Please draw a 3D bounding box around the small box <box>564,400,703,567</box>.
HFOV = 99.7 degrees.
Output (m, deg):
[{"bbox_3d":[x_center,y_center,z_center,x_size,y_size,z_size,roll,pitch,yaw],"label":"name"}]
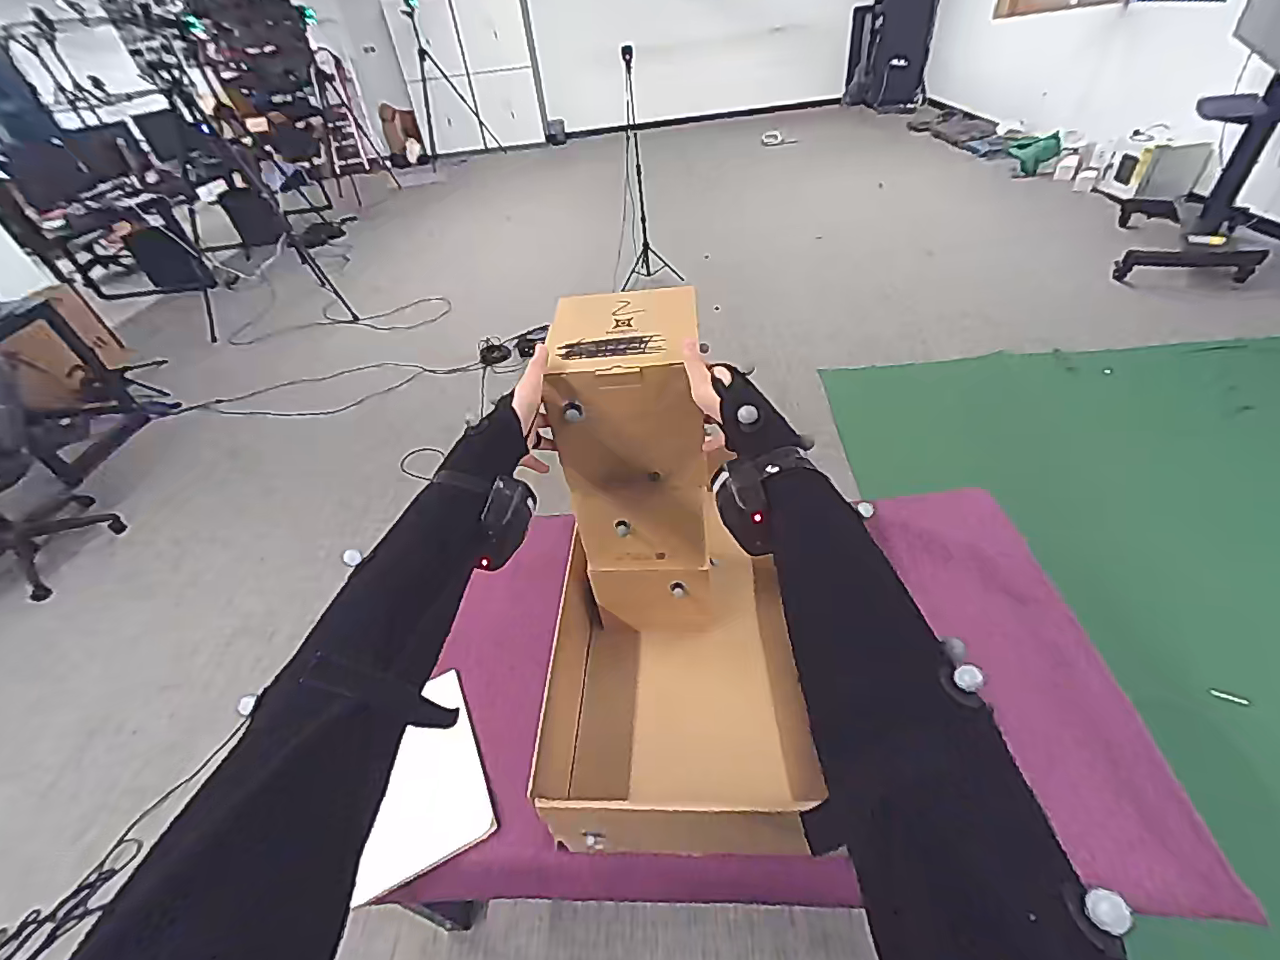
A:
[{"bbox_3d":[0.003,0.009,0.761,0.168,0.176,0.179,-2,43,7],"label":"small box"}]
